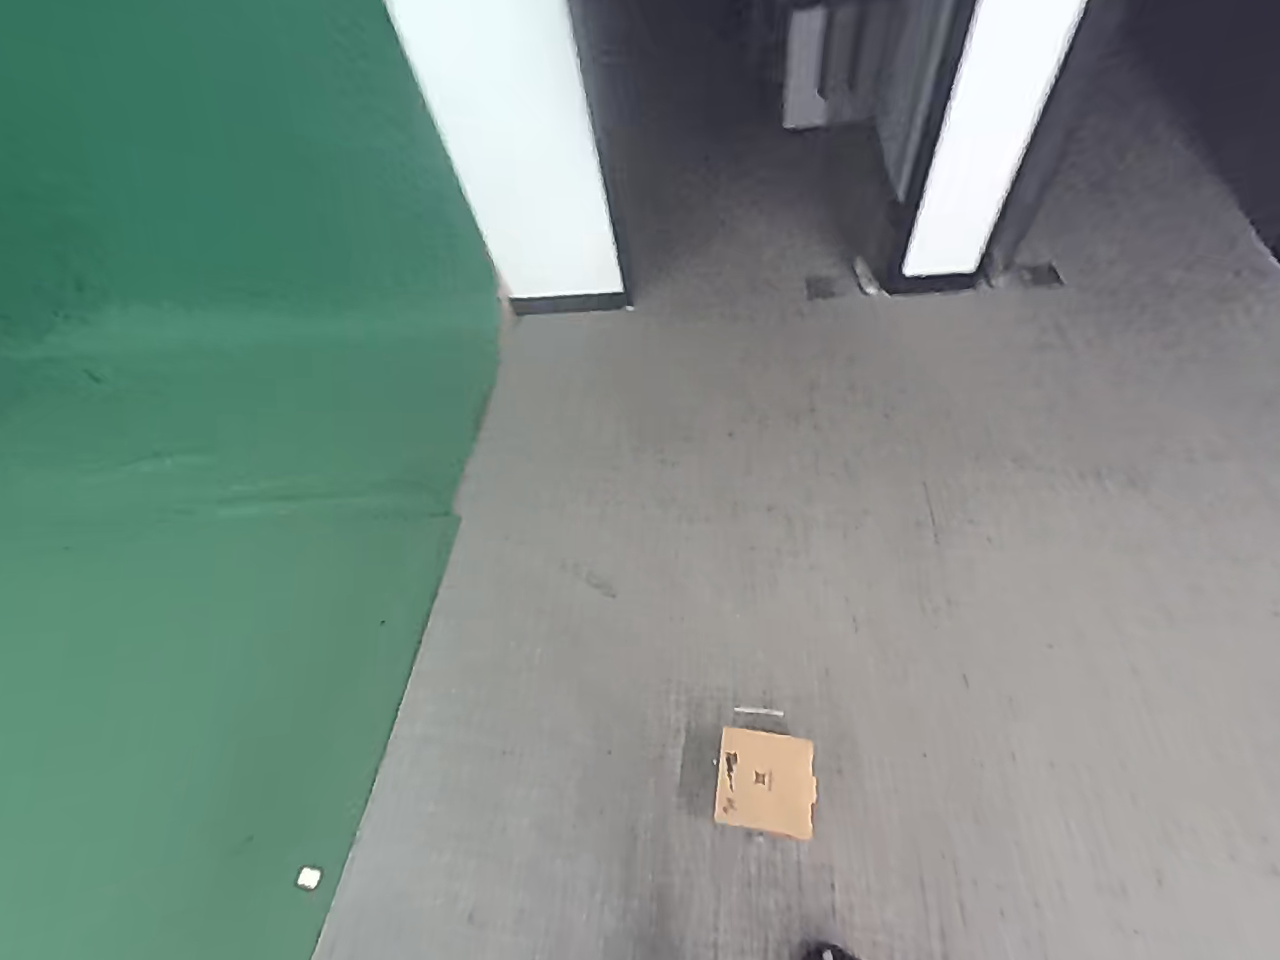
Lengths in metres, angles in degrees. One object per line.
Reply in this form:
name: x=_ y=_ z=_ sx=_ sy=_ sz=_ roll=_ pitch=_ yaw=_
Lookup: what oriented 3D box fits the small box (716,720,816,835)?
small box: x=0.252 y=0.599 z=1.089 sx=0.179 sy=0.176 sz=0.168 roll=5 pitch=57 yaw=14
